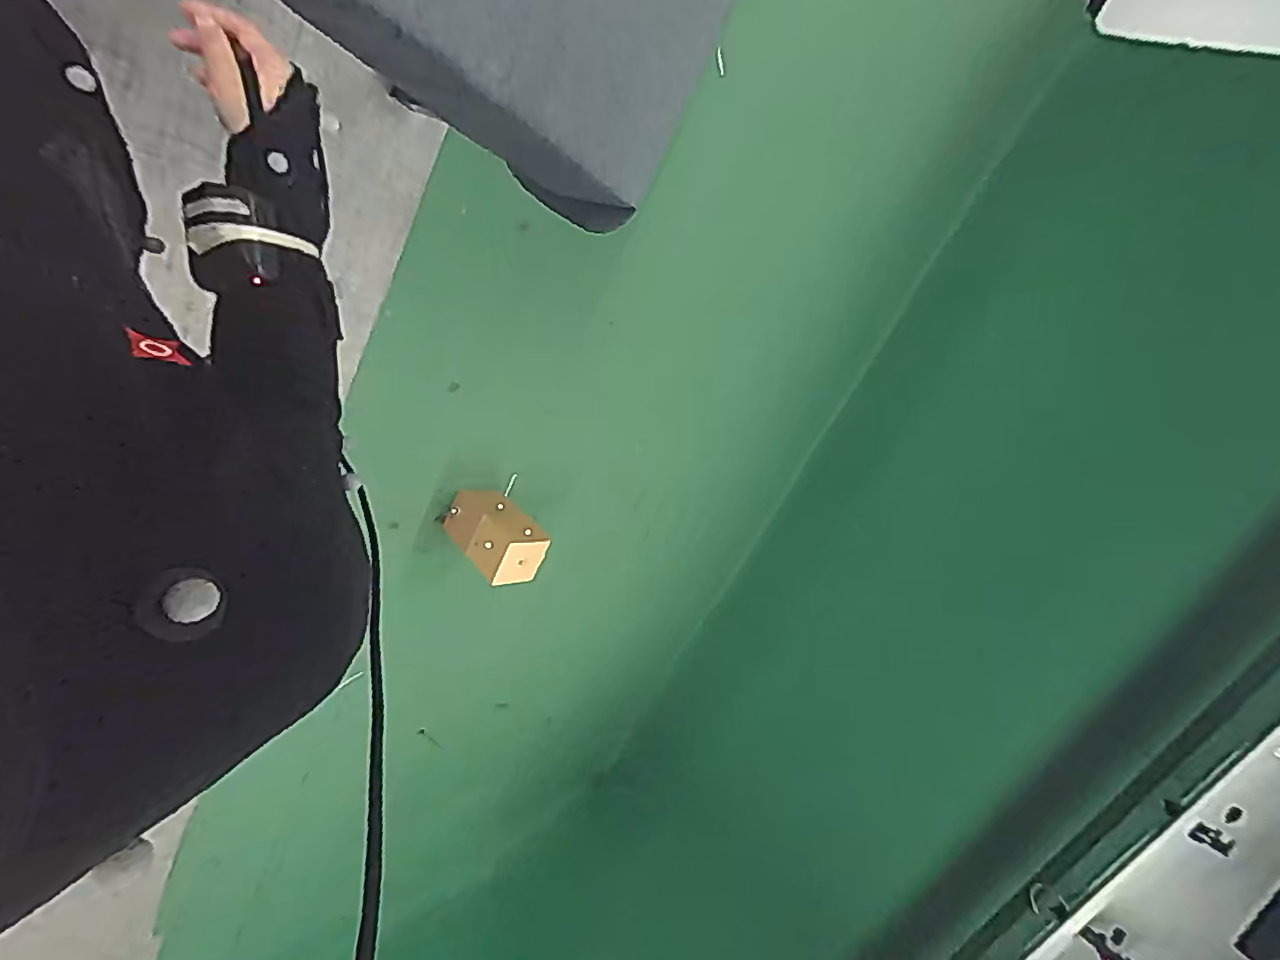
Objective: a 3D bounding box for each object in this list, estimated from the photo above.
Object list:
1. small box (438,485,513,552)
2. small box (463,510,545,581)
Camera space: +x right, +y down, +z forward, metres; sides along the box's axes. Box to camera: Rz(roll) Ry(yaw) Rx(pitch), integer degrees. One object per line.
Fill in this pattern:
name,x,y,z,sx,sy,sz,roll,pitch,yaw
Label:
small box,-0.564,0.131,1.875,0.179,0.176,0.168,6,116,-53
small box,-0.453,0.209,1.784,0.179,0.176,0.168,4,119,-54
